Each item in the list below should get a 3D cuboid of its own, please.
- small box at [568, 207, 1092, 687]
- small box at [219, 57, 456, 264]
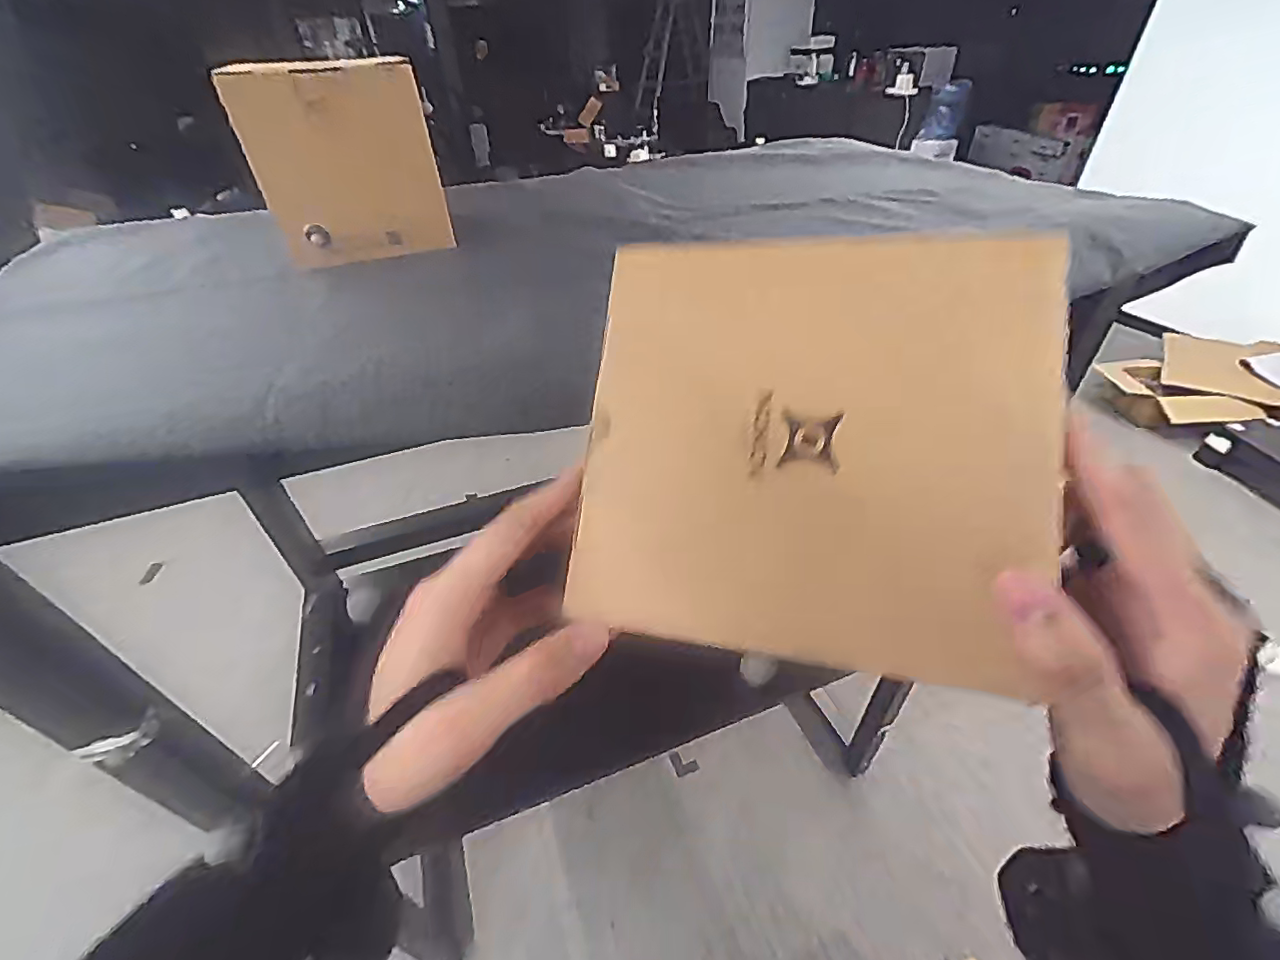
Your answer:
[{"bbox_3d":[0.086,-0.010,0.278,0.179,0.176,0.168,5,82,18],"label":"small box"},{"bbox_3d":[-0.311,-0.348,0.593,0.168,0.176,0.179,-15,41,-14],"label":"small box"}]
